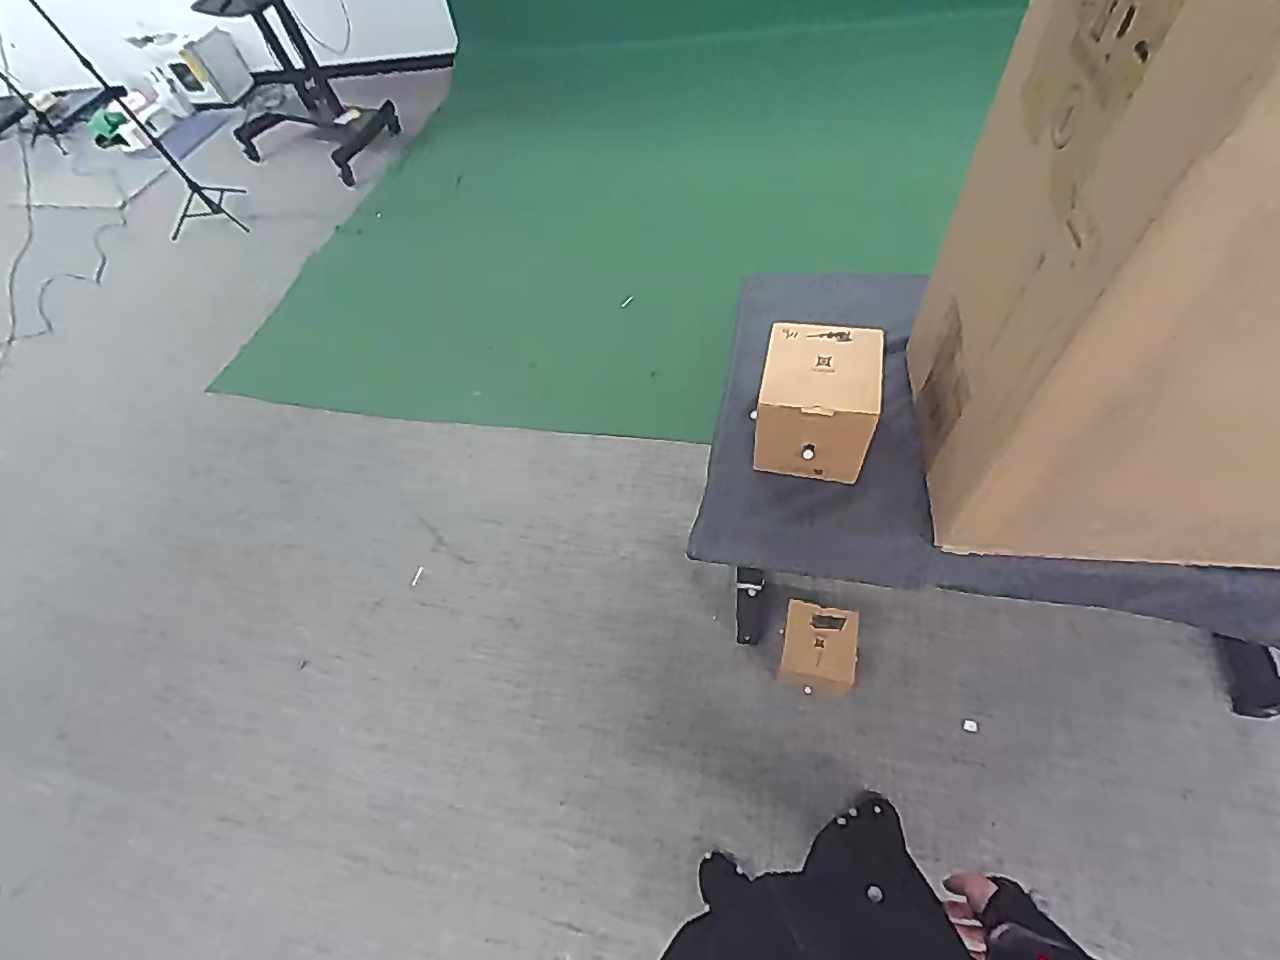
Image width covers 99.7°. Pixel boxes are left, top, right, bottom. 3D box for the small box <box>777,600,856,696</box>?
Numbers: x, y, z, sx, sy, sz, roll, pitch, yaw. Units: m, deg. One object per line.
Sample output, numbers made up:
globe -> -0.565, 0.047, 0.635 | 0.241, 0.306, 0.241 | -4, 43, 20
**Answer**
small box -> 0.442, 0.427, 1.370 | 0.168, 0.176, 0.179 | 8, 61, 16
